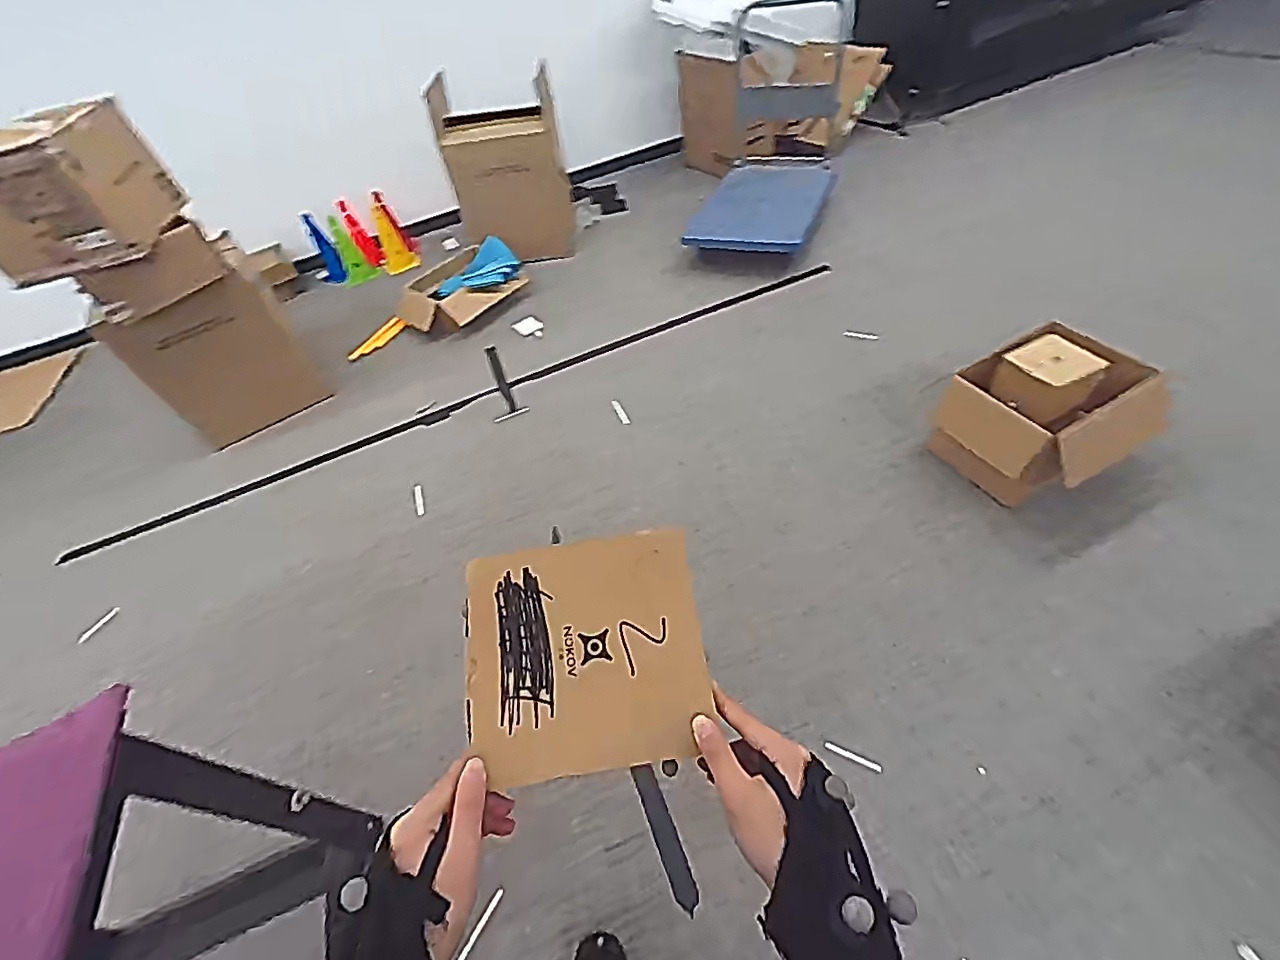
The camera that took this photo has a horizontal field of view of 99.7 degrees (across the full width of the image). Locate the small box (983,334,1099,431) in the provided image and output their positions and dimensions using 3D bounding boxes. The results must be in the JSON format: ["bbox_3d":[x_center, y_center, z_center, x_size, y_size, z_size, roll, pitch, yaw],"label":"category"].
[{"bbox_3d":[1.101,-0.270,1.504,0.179,0.176,0.168,-25,48,-9],"label":"small box"}]
